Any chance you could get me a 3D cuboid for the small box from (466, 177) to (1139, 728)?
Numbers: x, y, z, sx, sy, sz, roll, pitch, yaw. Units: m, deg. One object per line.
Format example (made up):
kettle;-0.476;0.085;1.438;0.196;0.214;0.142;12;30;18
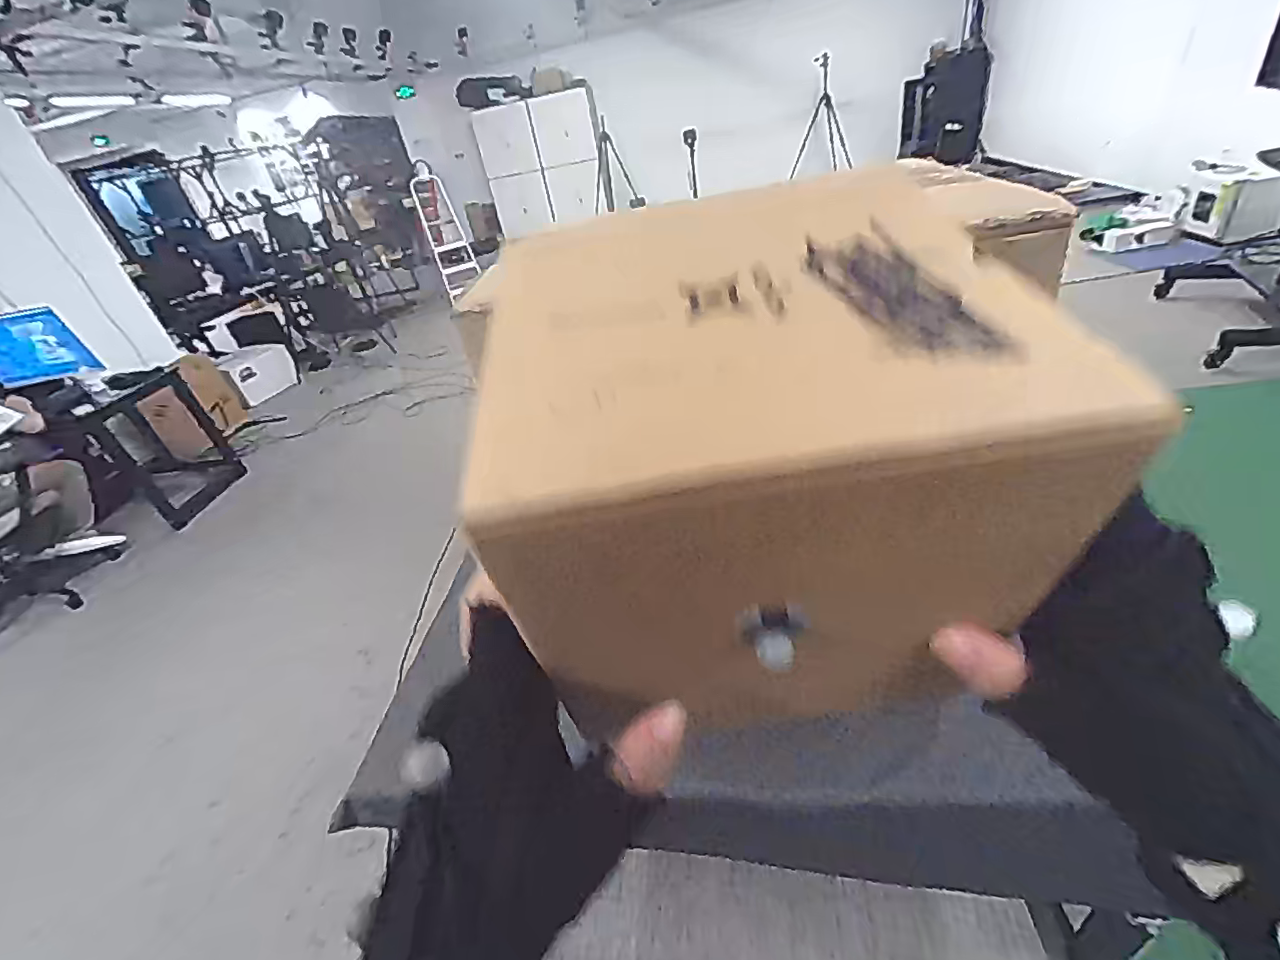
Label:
small box;0.038;-0.008;0.245;0.179;0.176;0.168;-9;48;-2
